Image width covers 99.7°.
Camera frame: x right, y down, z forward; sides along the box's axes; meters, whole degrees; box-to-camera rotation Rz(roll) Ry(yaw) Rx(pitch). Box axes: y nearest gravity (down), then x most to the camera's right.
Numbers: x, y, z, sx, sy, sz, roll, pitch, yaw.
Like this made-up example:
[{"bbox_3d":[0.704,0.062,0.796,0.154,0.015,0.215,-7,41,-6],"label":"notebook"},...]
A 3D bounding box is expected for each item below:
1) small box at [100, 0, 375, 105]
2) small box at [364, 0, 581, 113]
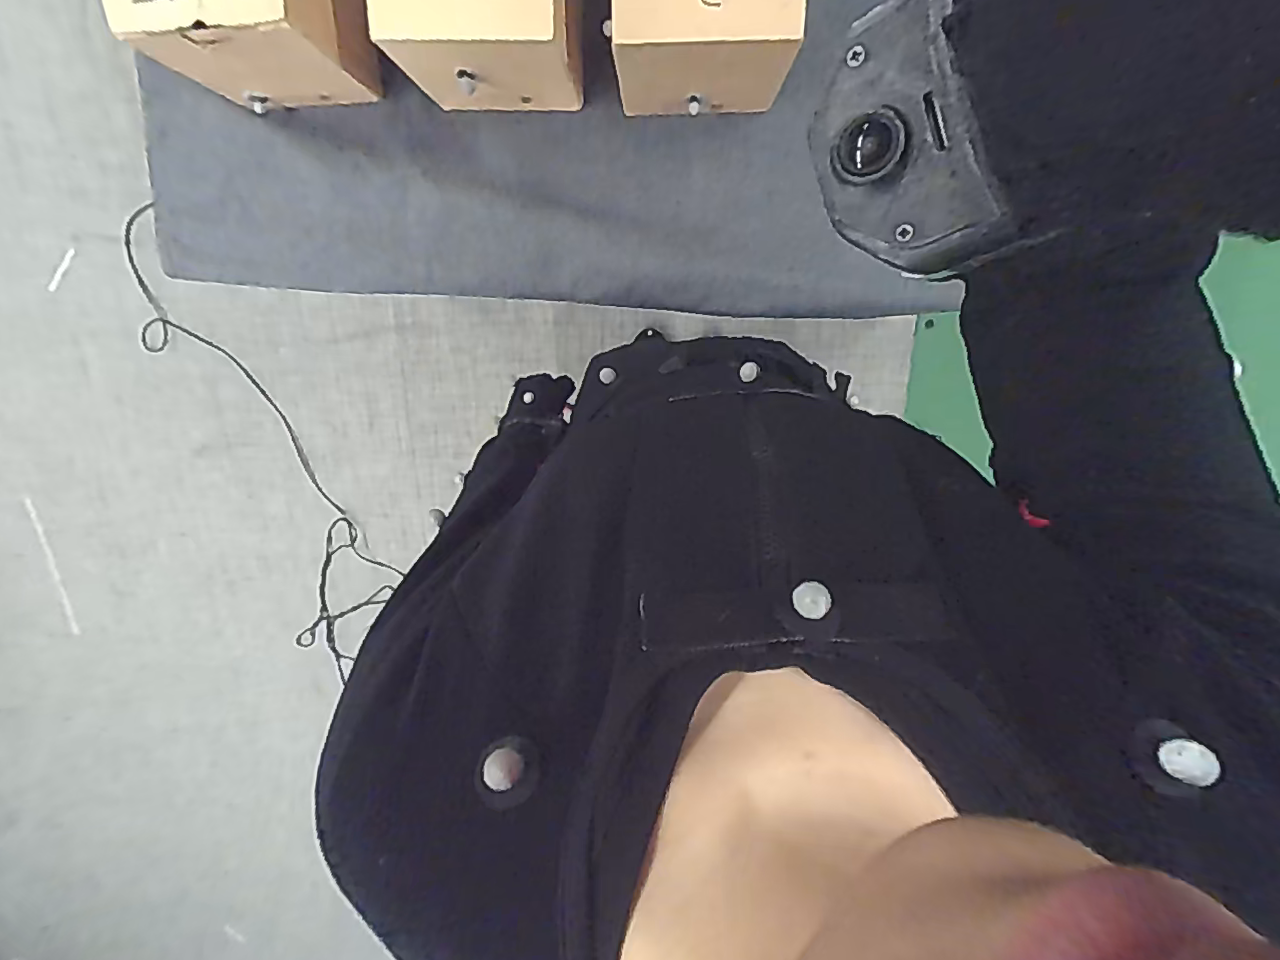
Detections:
[{"bbox_3d":[-0.386,-0.494,0.529,0.168,0.176,0.179,-1,104,3],"label":"small box"},{"bbox_3d":[-0.150,-0.482,0.524,0.168,0.176,0.179,2,105,2],"label":"small box"}]
